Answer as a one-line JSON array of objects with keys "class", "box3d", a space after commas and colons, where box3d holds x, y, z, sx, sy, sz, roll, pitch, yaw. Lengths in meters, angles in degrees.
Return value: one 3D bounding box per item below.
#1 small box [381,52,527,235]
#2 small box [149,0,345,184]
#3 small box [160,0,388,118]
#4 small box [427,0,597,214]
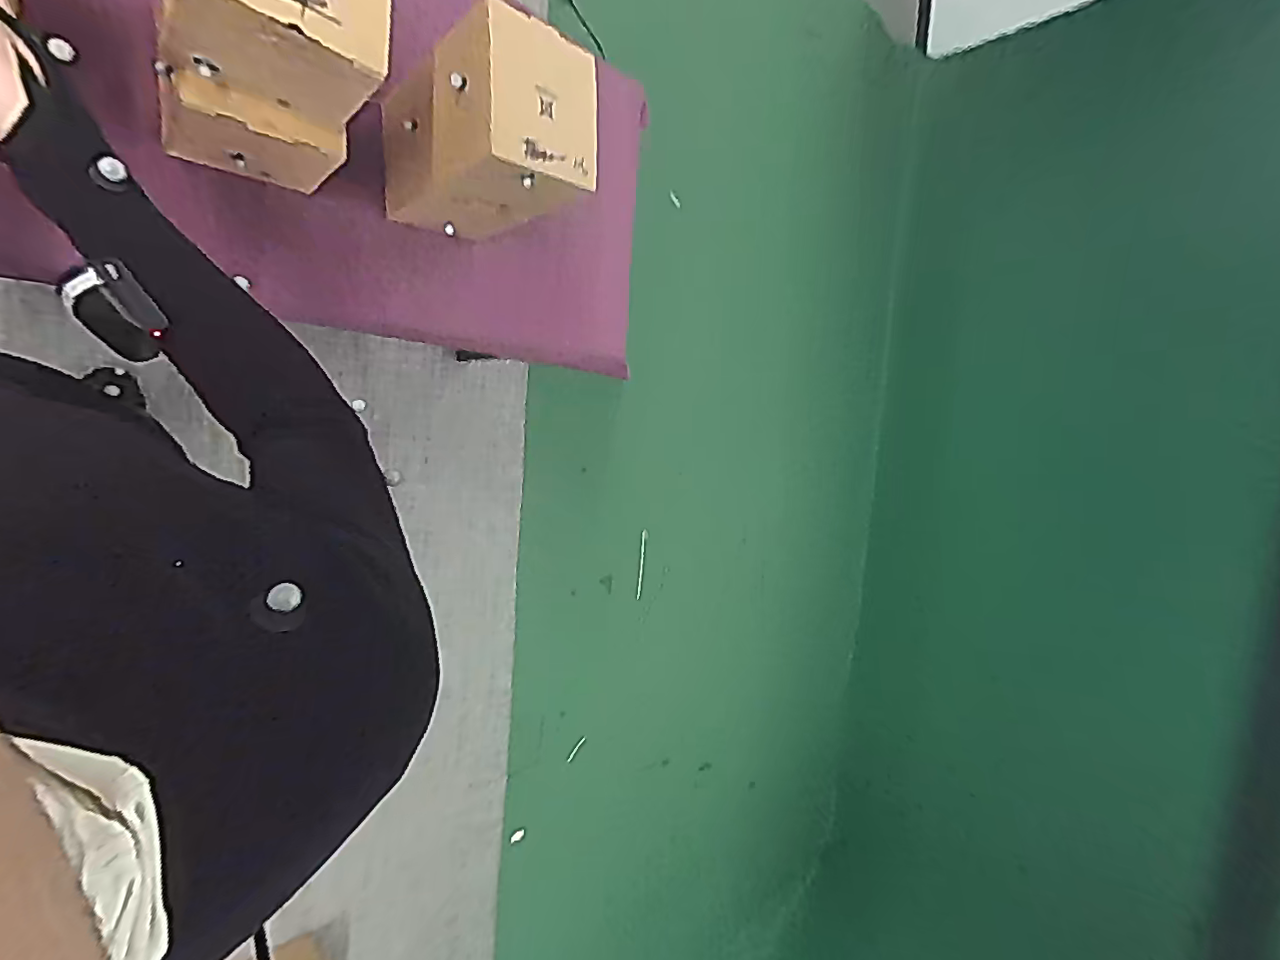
[{"class": "small box", "box3d": [-0.293, -0.509, 0.851, 0.168, 0.176, 0.179, -7, 102, -45]}, {"class": "small box", "box3d": [-0.481, -0.498, 0.664, 0.168, 0.176, 0.179, -5, 101, -45]}, {"class": "small box", "box3d": [-0.366, -0.510, 0.543, 0.168, 0.176, 0.179, 0, 96, -46]}, {"class": "small box", "box3d": [-0.176, -0.492, 0.738, 0.168, 0.176, 0.179, -8, 101, -44]}]
